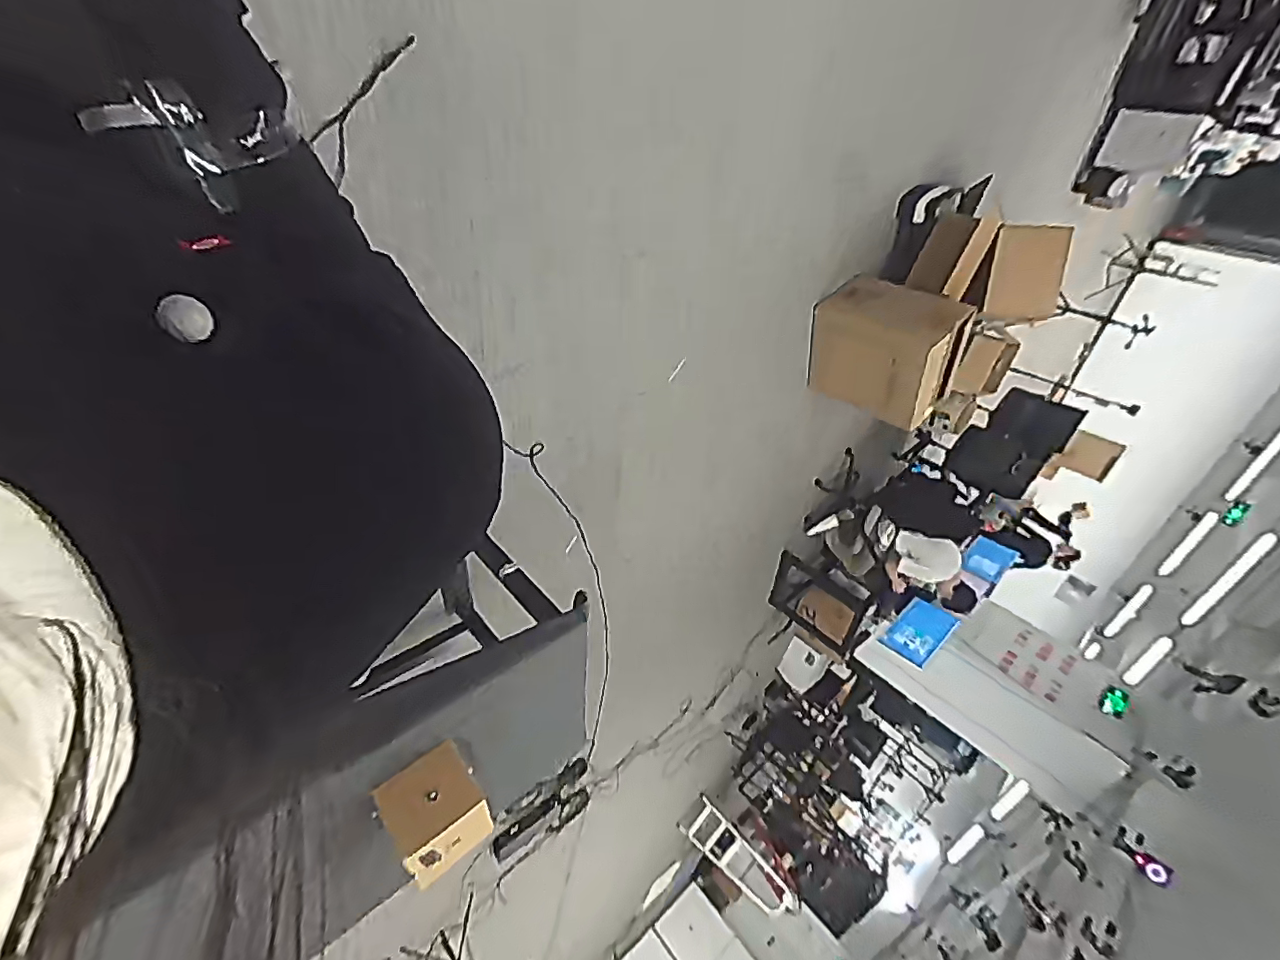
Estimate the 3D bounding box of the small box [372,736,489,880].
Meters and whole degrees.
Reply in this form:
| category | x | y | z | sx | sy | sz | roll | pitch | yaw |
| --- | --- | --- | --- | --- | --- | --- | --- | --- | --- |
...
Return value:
| category | x | y | z | sx | sy | sz | roll | pitch | yaw |
| --- | --- | --- | --- | --- | --- | --- | --- | --- | --- |
| small box | -0.456 | 0.703 | 1.171 | 0.179 | 0.176 | 0.168 | -28 | 138 | -30 |
